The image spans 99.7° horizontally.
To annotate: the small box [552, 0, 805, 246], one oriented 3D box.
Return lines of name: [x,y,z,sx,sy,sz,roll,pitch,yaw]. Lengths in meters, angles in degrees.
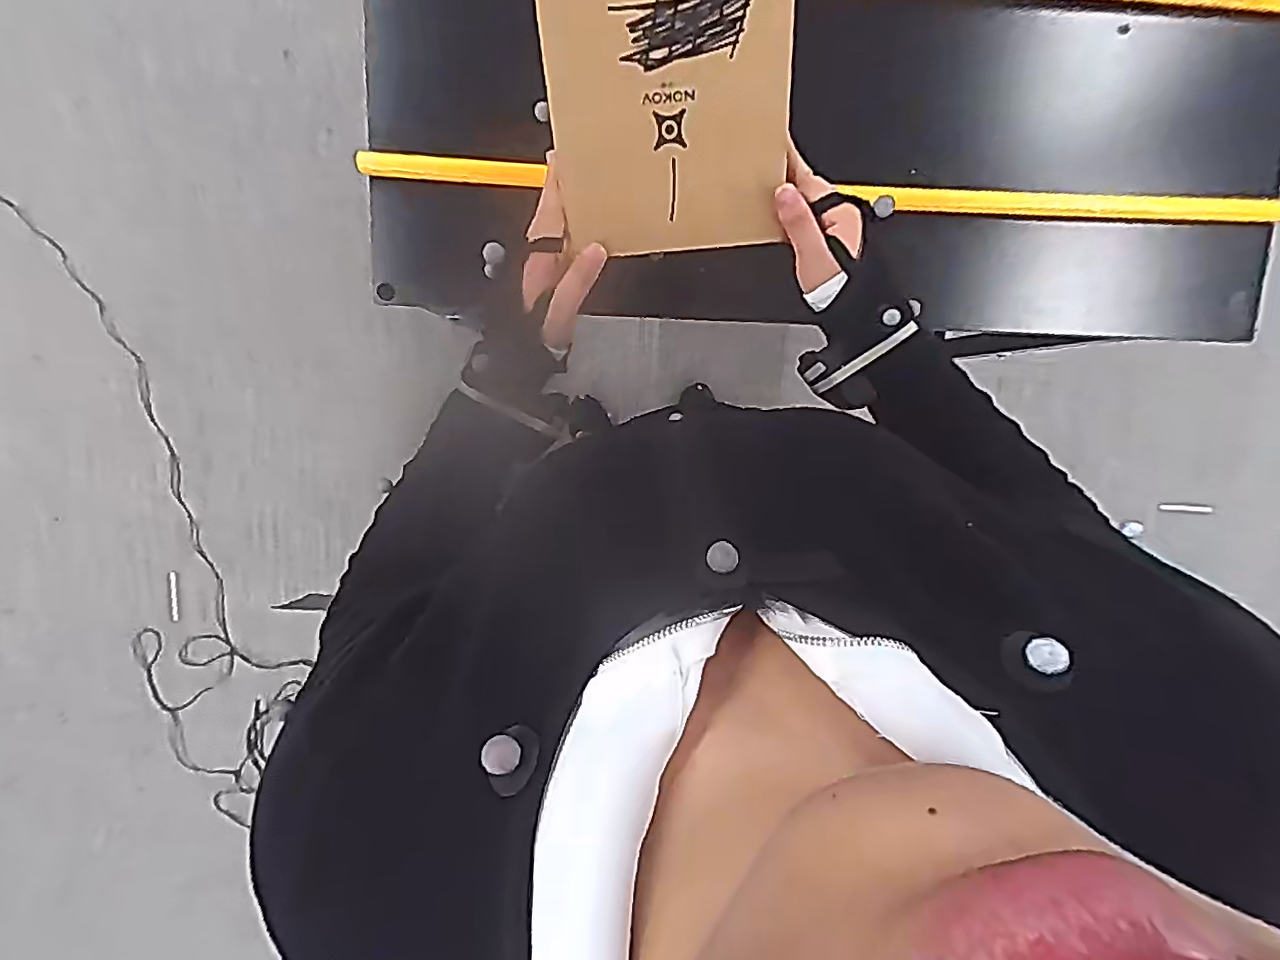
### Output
small box: [0.023,-0.295,0.439,0.168,0.176,0.179,-5,119,-1]
